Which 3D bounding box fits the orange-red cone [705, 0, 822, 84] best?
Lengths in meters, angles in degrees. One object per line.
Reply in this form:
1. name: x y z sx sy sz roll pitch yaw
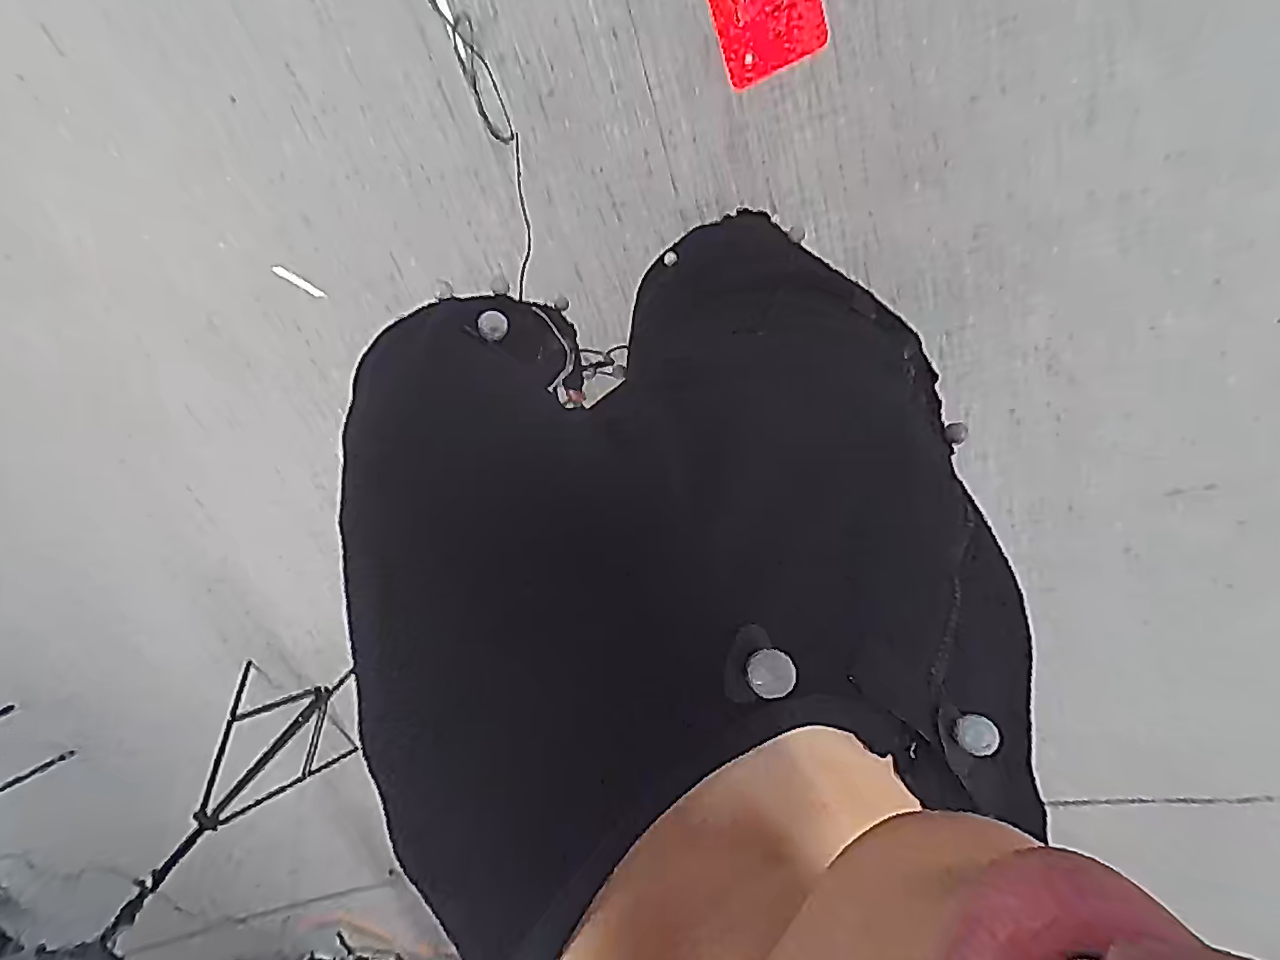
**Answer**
1. orange-red cone: 0.208 -0.839 0.900 0.199 0.360 0.198 -16 113 18
